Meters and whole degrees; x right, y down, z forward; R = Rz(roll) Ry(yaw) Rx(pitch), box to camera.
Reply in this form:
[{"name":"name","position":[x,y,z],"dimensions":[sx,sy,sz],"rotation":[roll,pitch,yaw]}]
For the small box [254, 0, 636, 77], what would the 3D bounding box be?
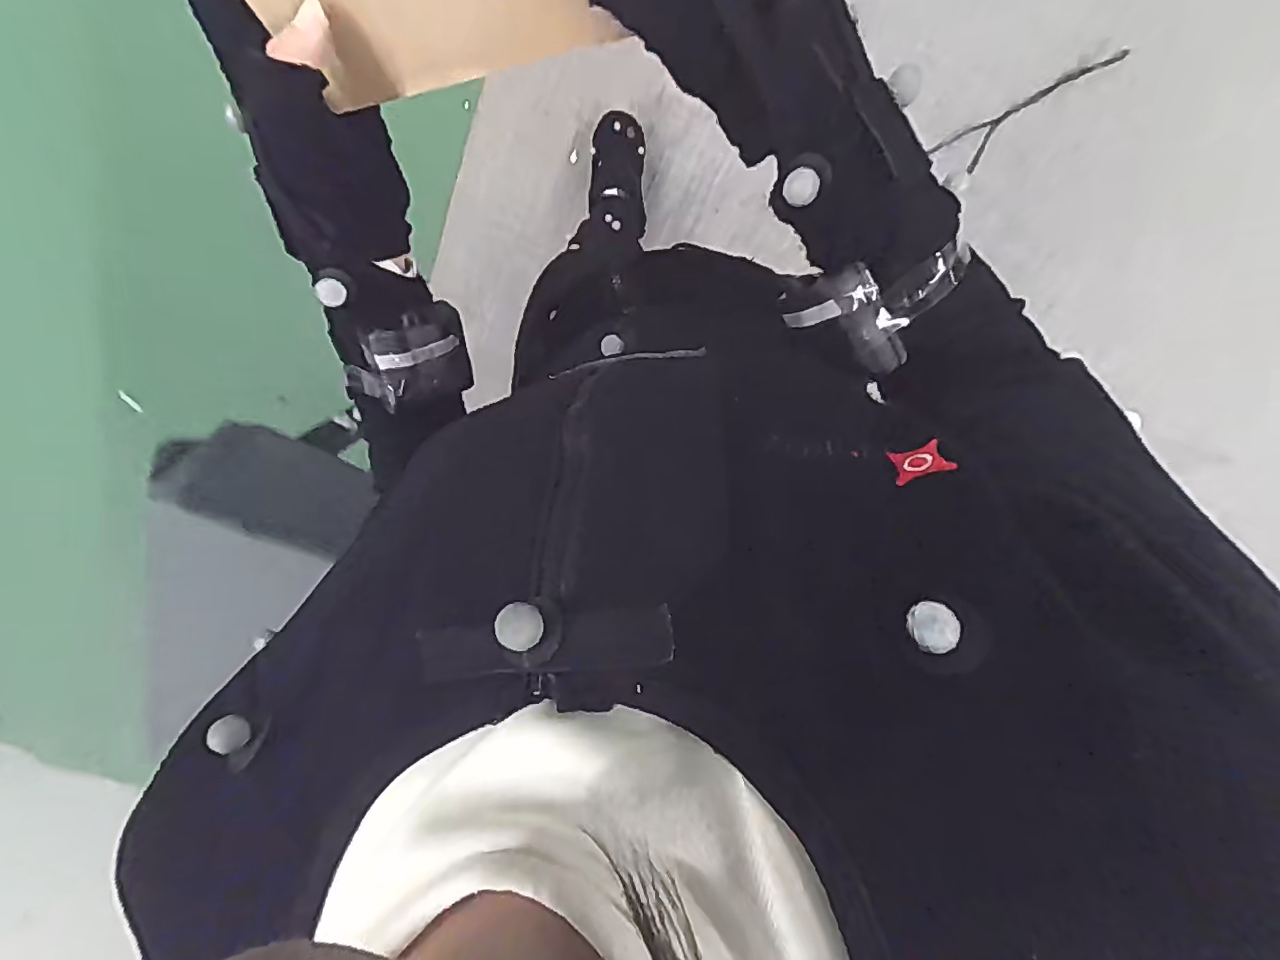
[{"name":"small box","position":[-0.089,-0.307,0.216],"dimensions":[0.179,0.176,0.168],"rotation":[4,152,17]}]
